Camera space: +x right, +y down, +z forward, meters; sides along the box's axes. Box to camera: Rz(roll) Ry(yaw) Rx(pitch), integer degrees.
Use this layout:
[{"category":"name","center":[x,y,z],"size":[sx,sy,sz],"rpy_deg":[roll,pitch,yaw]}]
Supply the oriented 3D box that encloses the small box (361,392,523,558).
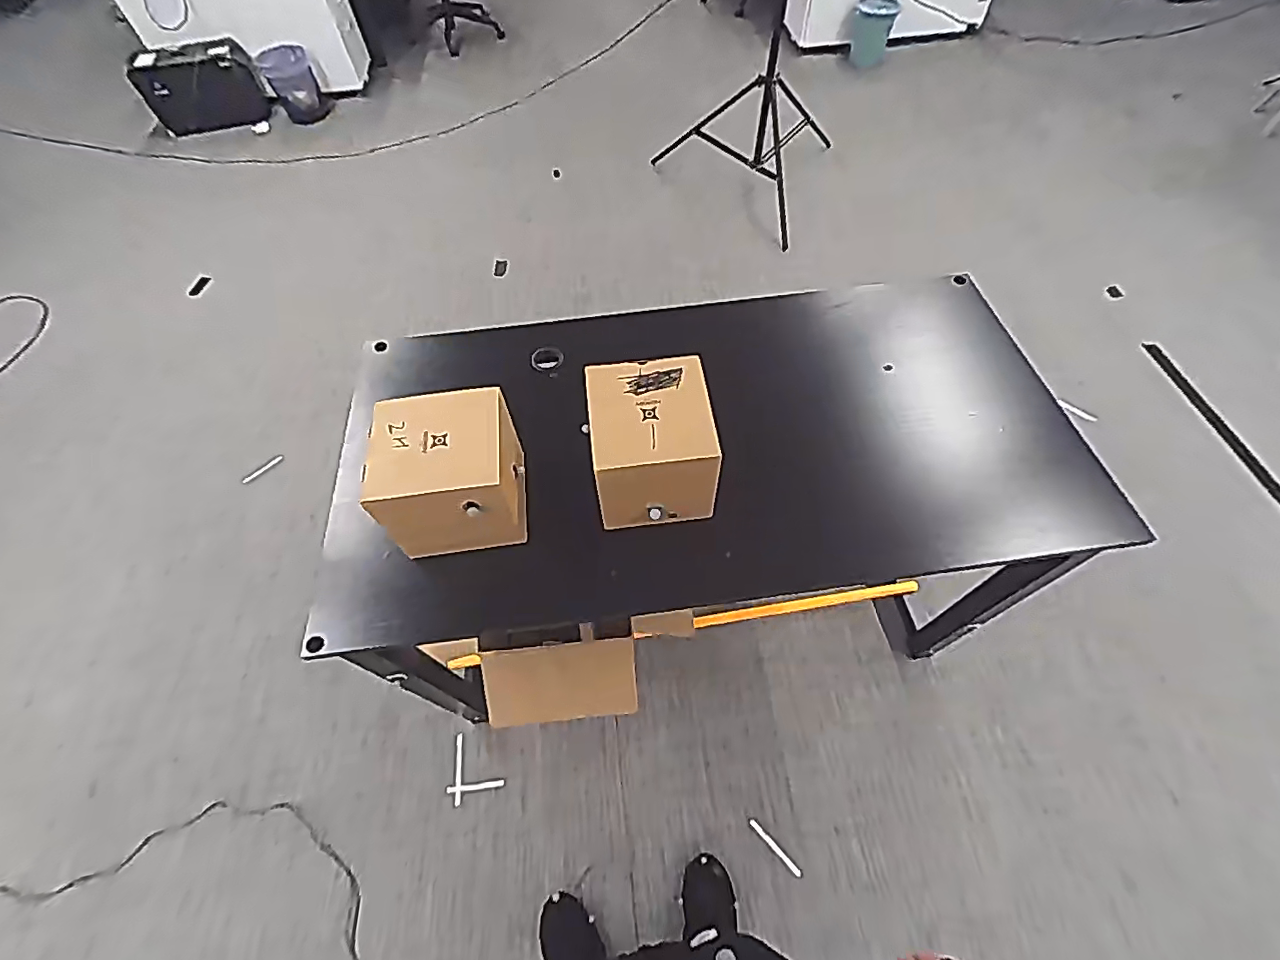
[{"category":"small box","center":[-0.268,-0.002,0.781],"size":[0.179,0.176,0.168],"rpy_deg":[-8,57,-3]}]

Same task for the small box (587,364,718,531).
[{"category":"small box","center":[0.014,-0.045,0.799],"size":[0.168,0.176,0.179],"rpy_deg":[-7,58,-2]}]
